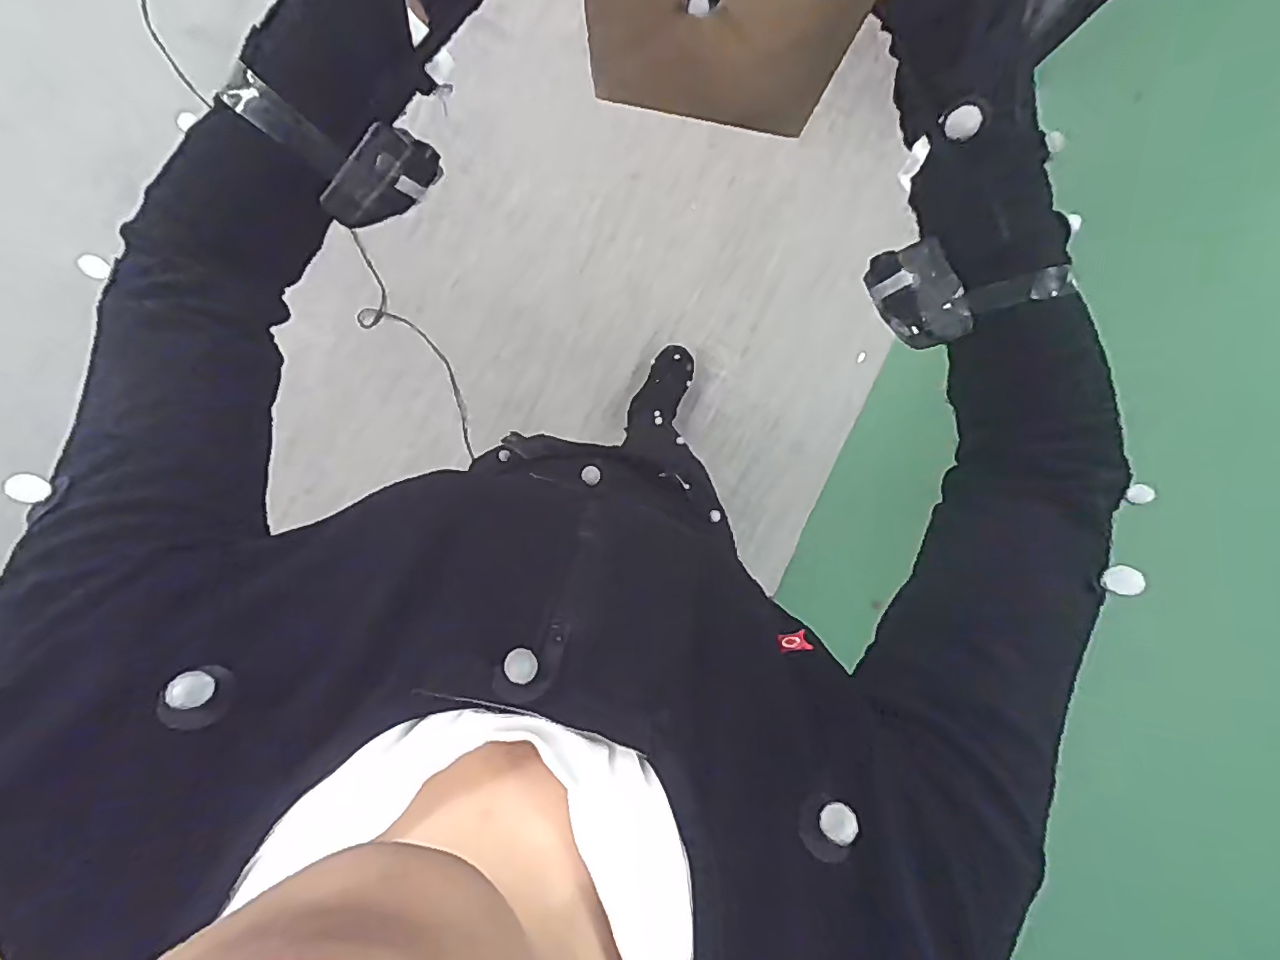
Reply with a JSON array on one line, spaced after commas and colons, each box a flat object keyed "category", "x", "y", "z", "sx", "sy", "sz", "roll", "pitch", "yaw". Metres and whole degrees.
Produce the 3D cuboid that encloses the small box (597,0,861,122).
[{"category": "small box", "x": 0.067, "y": -0.380, "z": 0.363, "sx": 0.179, "sy": 0.176, "sz": 0.168, "roll": 10, "pitch": 94, "yaw": -2}]
